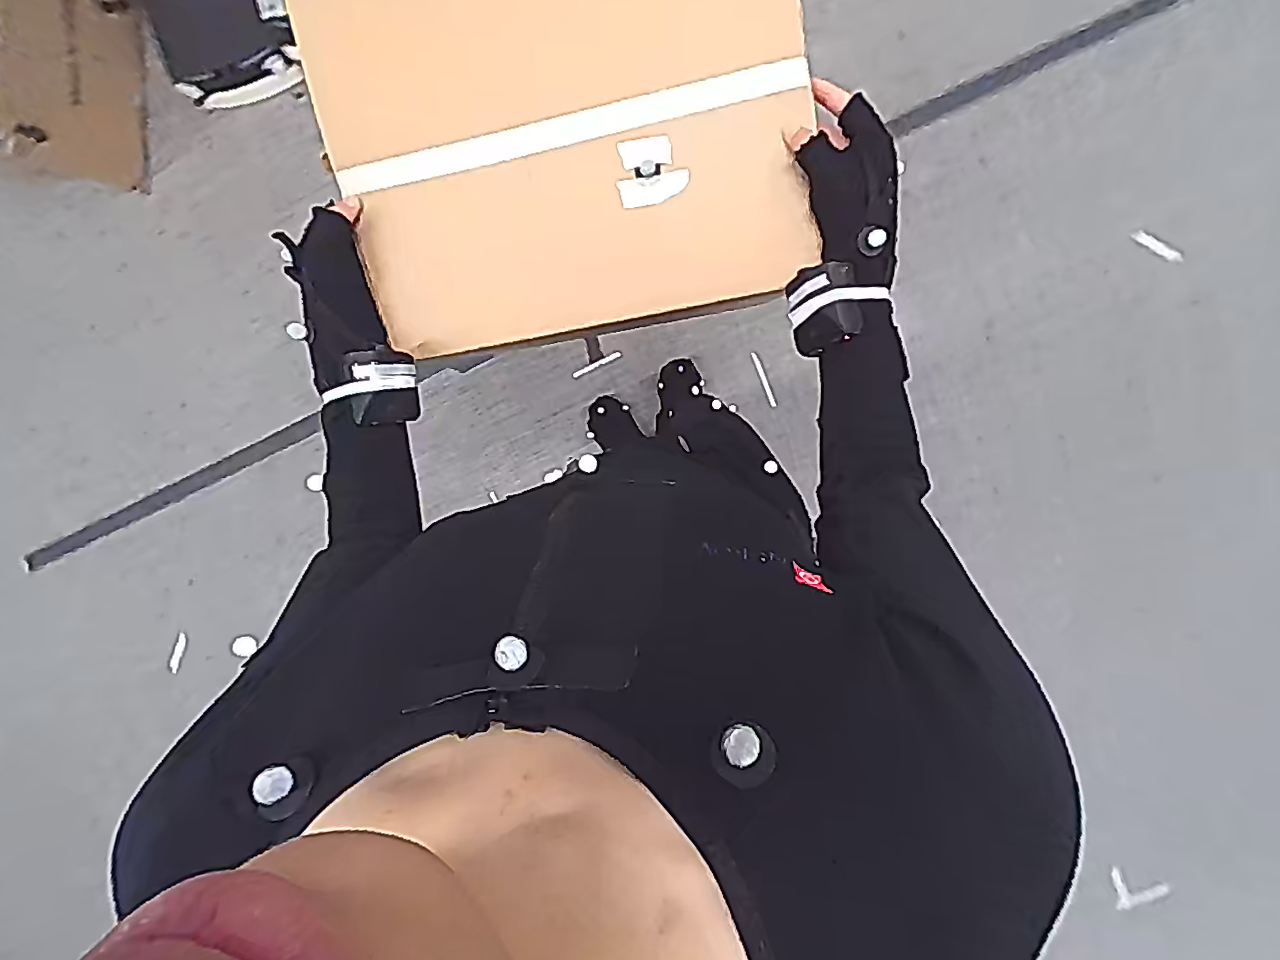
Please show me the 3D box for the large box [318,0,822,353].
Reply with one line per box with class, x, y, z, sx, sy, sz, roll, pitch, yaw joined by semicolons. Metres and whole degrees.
large box;-0.048;-0.338;0.617;0.408;0.320;0.320;-9;105;6
